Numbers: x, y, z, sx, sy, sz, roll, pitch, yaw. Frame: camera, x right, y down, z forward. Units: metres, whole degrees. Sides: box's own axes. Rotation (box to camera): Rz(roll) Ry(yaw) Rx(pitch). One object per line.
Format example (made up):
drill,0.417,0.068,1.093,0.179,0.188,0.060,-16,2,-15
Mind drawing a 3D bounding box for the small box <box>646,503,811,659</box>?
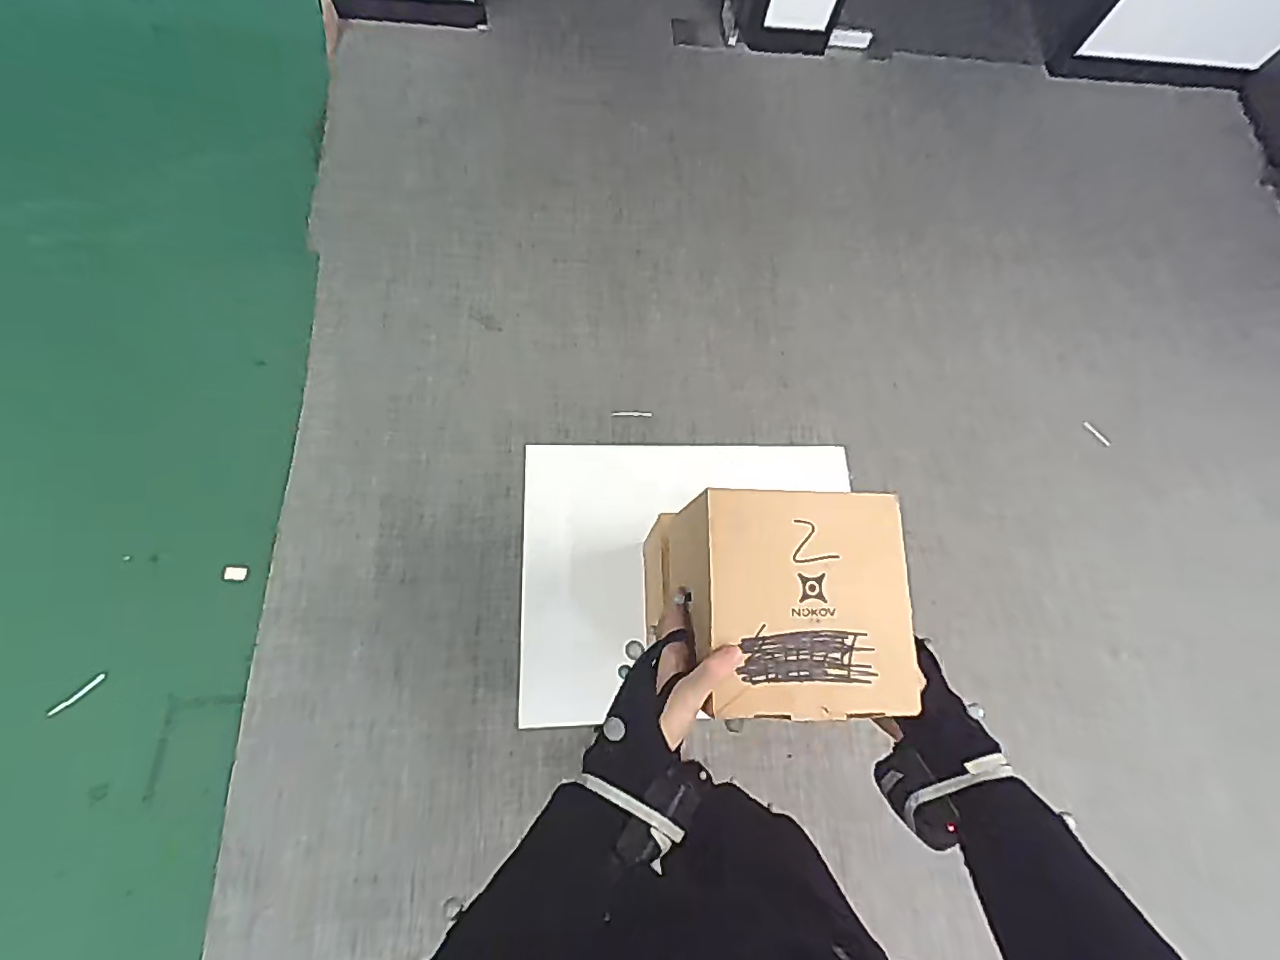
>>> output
small box,0.100,0.135,0.696,0.168,0.176,0.179,-1,72,-6
